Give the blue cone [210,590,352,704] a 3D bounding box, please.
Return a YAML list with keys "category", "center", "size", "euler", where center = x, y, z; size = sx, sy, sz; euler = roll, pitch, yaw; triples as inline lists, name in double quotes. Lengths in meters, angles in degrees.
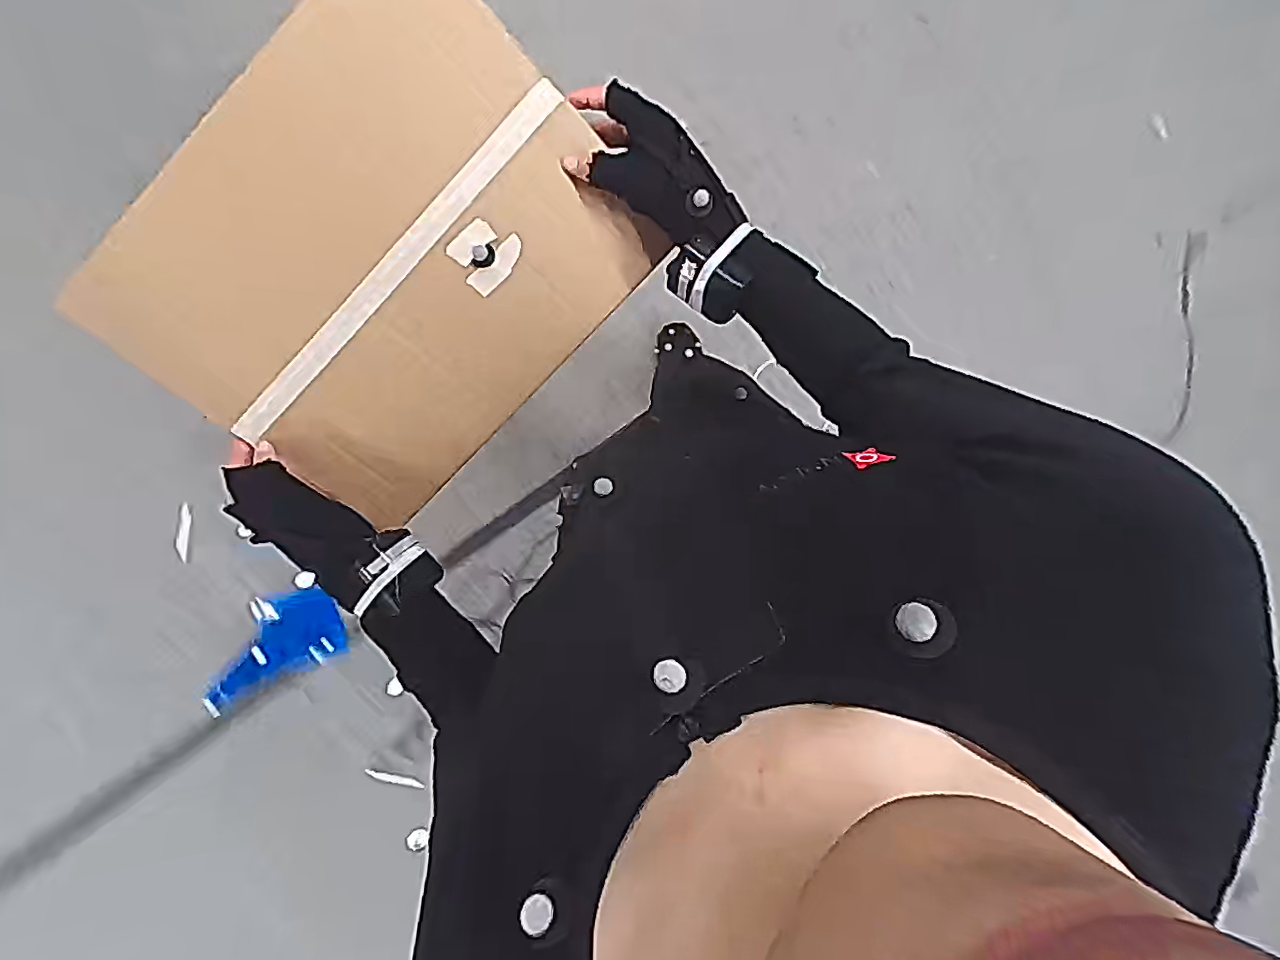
- category: "blue cone"
  center: [-0.870, 0.419, 1.290]
  size: [0.192, 0.380, 0.193]
  euler: [-15, 99, -3]
